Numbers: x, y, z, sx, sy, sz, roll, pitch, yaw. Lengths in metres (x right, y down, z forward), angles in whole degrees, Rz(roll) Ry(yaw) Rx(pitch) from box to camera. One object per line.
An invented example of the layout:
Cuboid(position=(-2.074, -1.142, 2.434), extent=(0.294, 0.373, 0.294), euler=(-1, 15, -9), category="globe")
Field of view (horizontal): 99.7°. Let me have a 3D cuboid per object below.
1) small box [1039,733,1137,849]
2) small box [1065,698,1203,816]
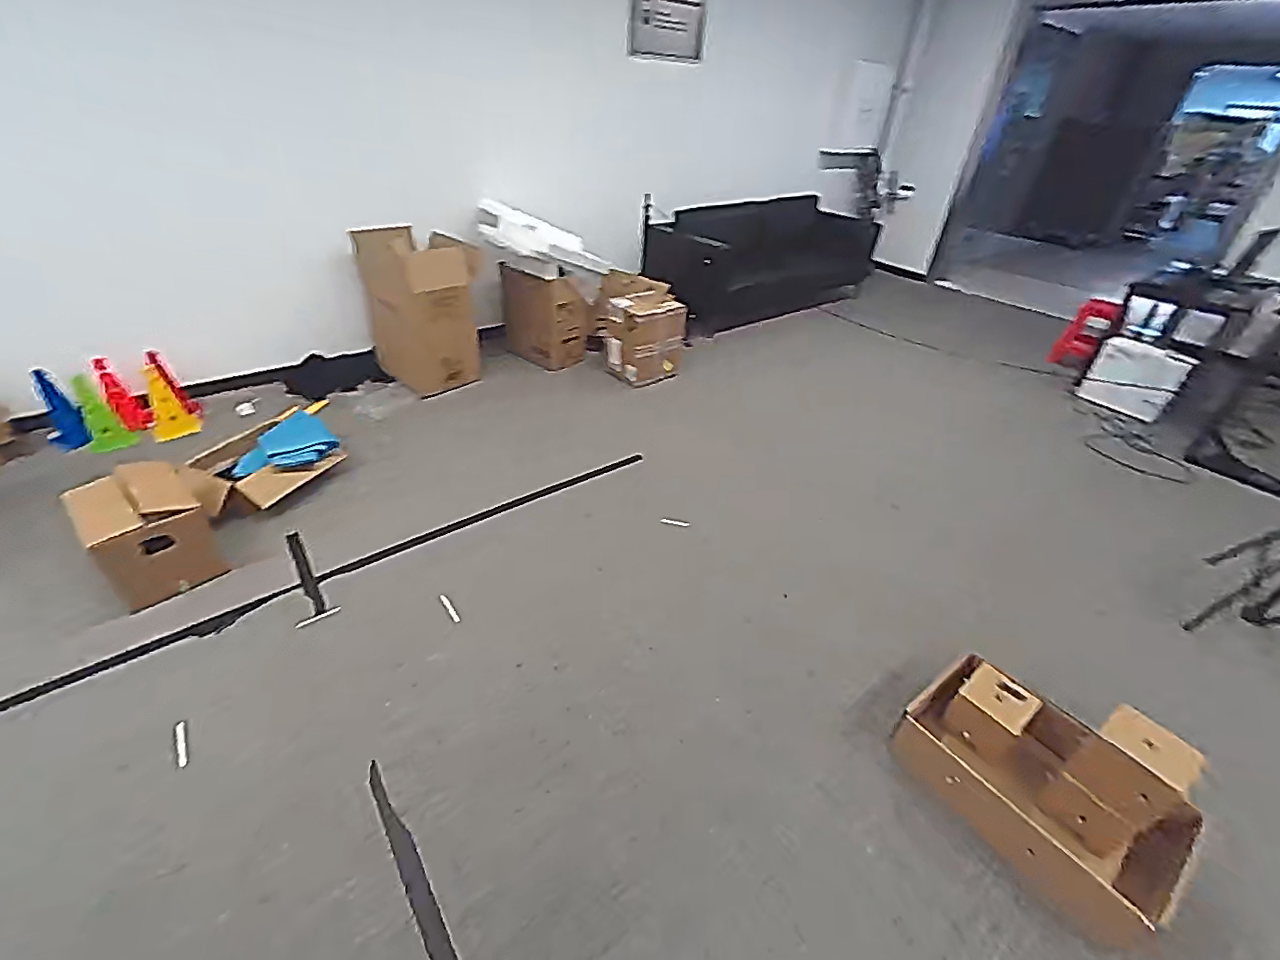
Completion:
Cuboid(position=(1.201, 0.824, 1.430), extent=(0.179, 0.176, 0.168), euler=(-22, 39, -29), category="small box")
Cuboid(position=(1.213, 0.688, 1.336), extent=(0.168, 0.176, 0.179), euler=(-19, 38, -30), category="small box")
